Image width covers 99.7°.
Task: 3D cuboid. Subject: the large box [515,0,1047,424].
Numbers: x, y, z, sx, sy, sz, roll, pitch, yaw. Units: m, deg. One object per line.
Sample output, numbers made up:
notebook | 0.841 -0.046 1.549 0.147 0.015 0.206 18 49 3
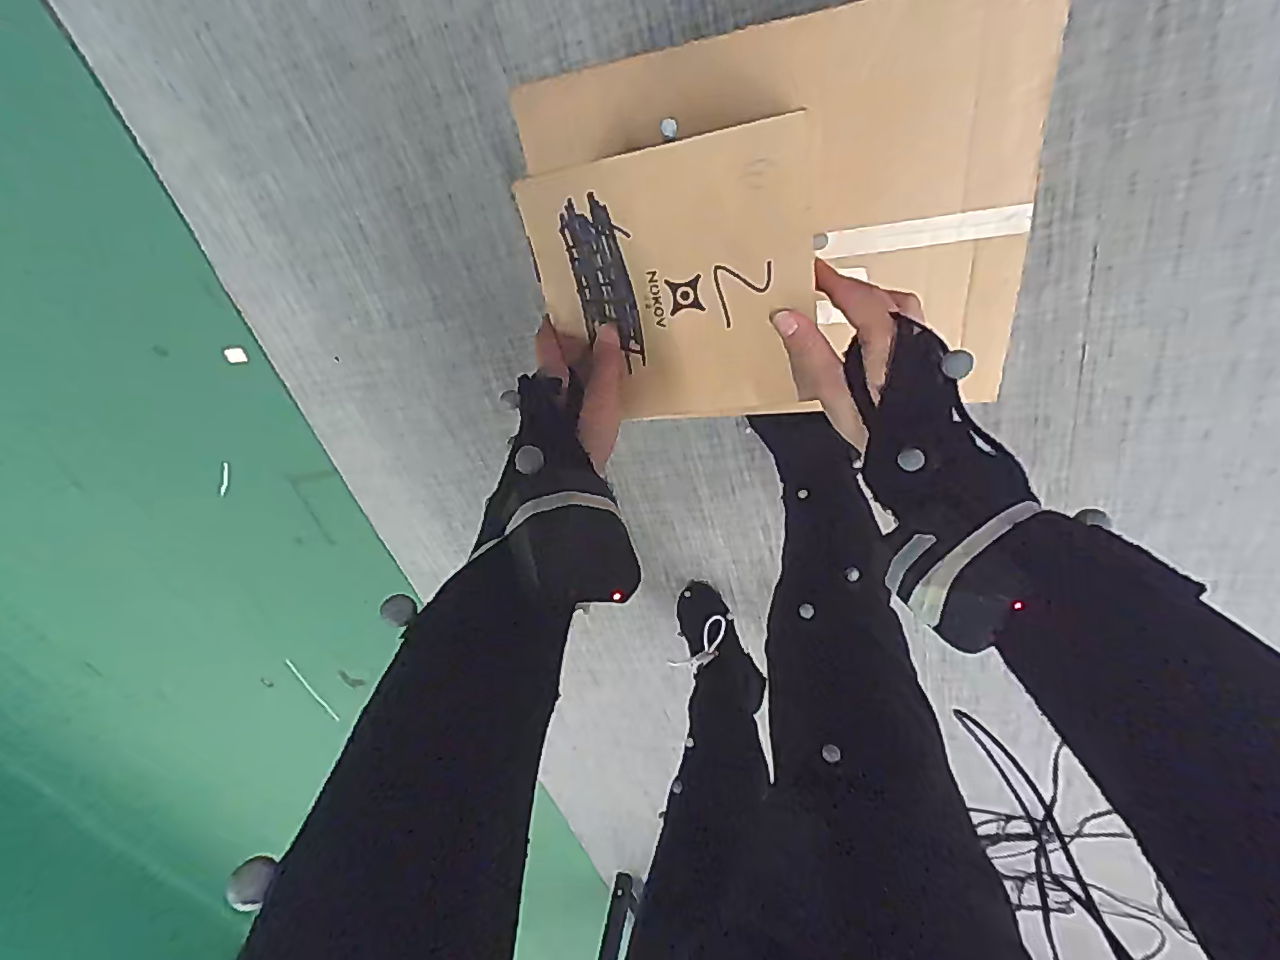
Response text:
large box | 0.138 -0.281 0.603 0.408 0.320 0.320 -3 122 16
